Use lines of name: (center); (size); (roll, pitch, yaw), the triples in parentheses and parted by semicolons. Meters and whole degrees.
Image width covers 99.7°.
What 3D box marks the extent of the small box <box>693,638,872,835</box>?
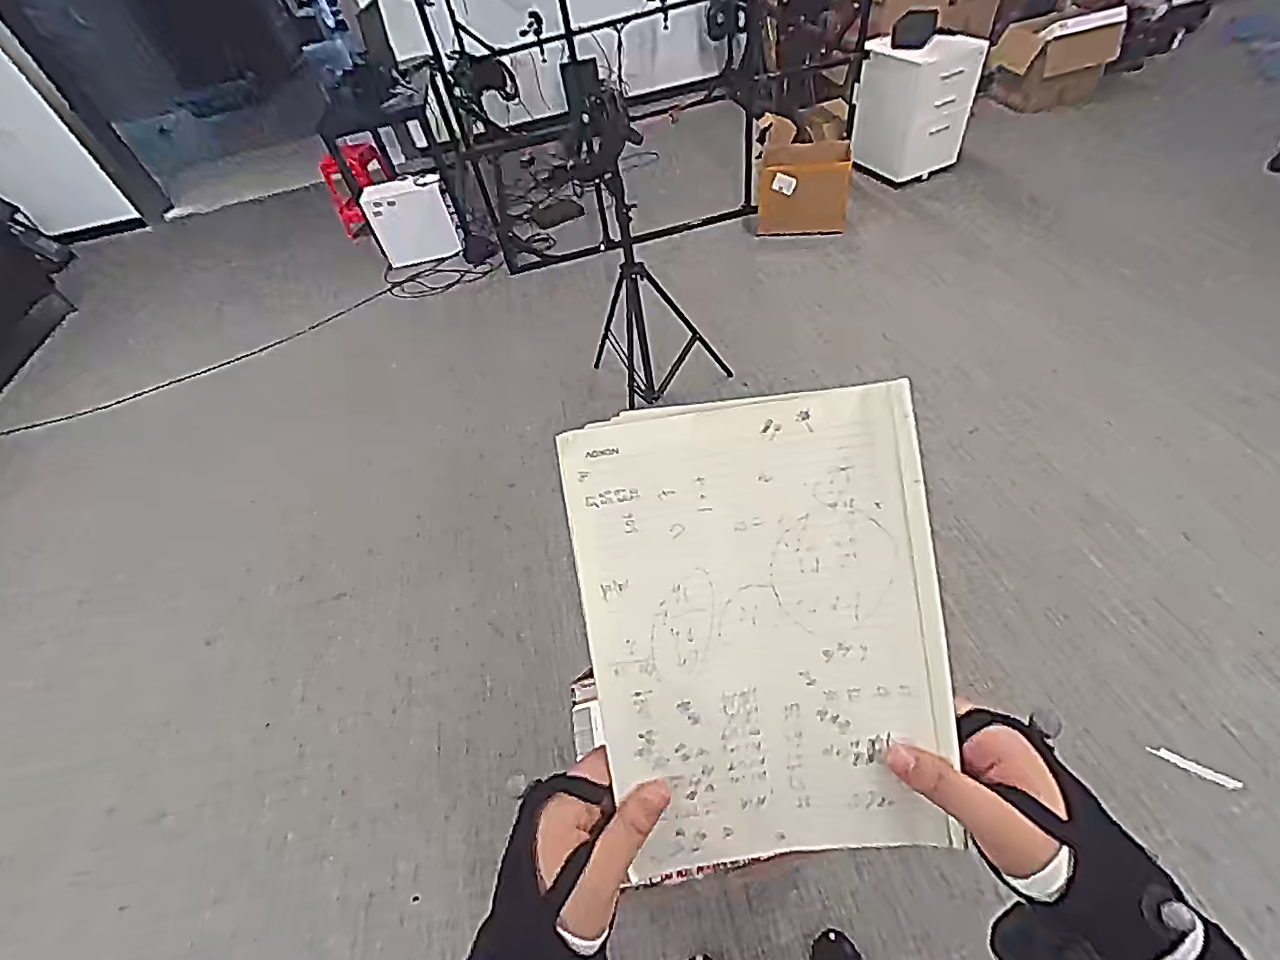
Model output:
small box: (0.167, 0.334, 0.702); (0.168, 0.176, 0.179); (-12, 51, -3)

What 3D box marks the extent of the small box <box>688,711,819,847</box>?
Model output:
small box: (0.180, 0.439, 0.829); (0.179, 0.176, 0.168); (-15, 50, -4)
